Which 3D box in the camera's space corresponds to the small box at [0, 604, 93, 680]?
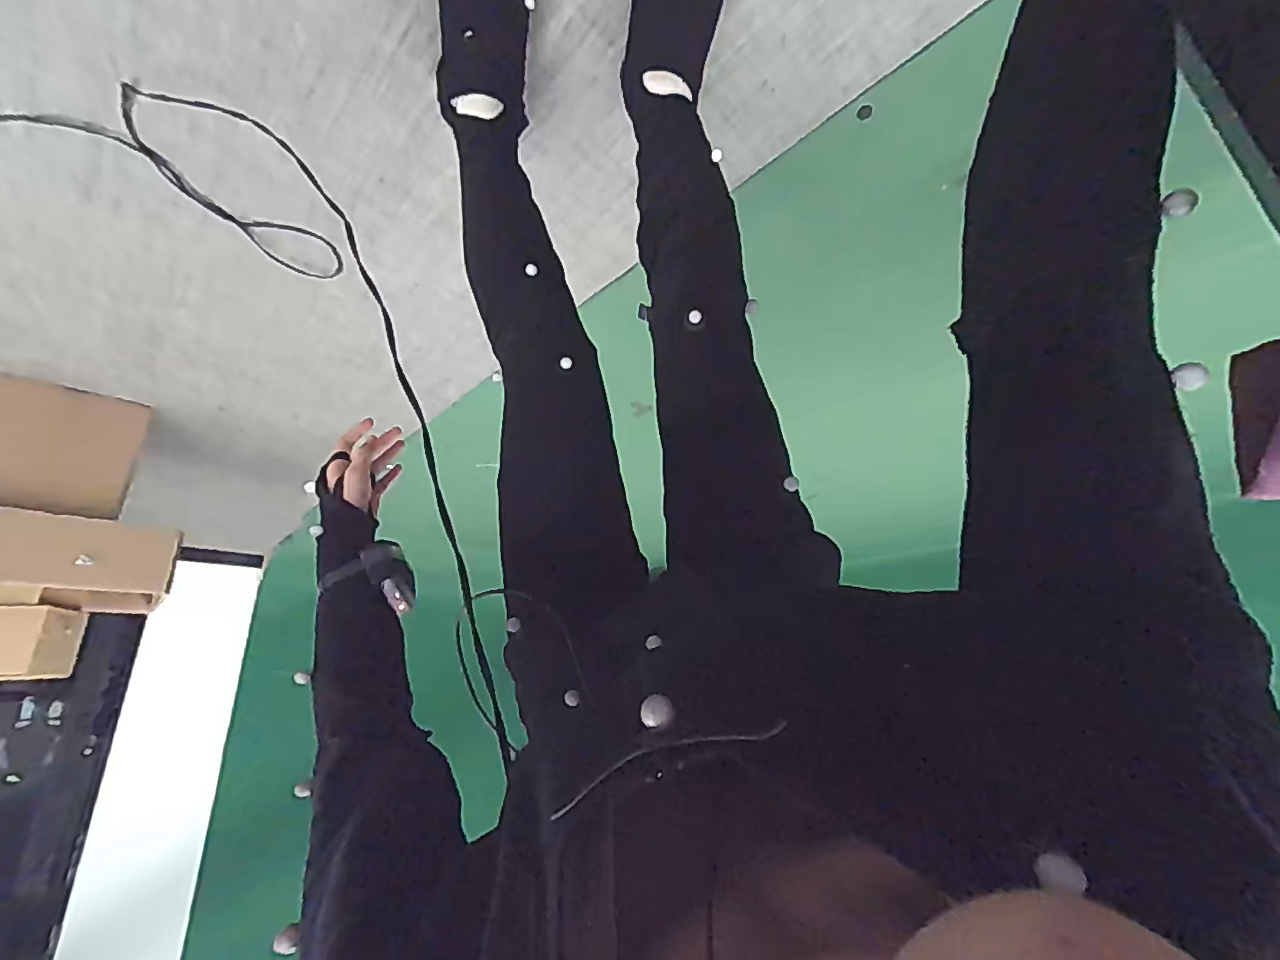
[{"bbox_3d":[-1.561,0.413,1.369,0.179,0.176,0.168,3,159,-16],"label":"small box"}]
